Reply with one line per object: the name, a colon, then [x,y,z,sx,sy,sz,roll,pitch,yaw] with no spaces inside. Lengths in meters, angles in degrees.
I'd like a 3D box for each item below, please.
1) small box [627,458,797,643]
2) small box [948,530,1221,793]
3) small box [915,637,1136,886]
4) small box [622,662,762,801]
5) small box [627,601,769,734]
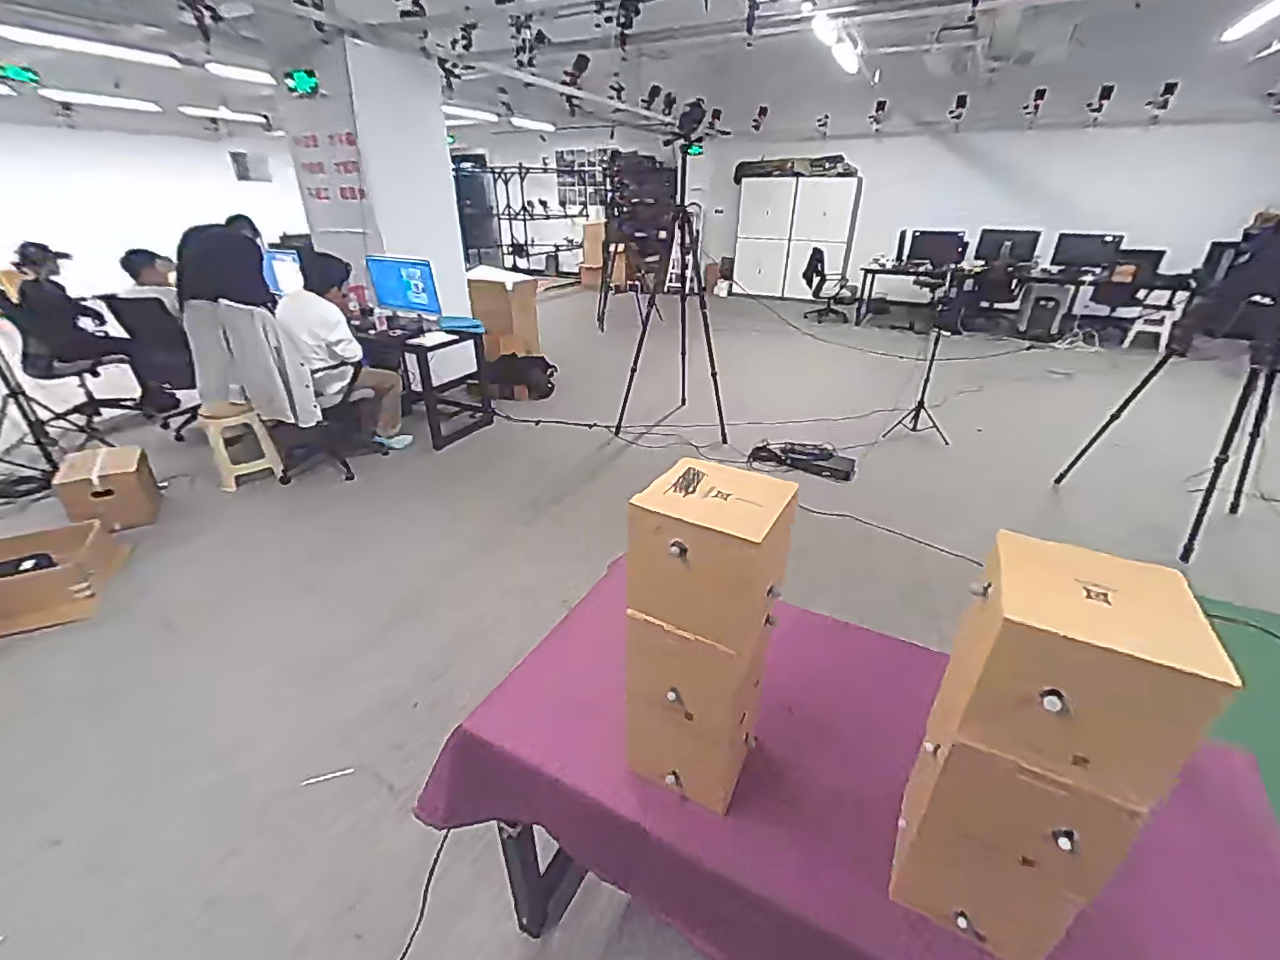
small box: [0.095,0.091,0.737,0.179,0.176,0.168,16,31,25]
small box: [0.442,0.183,0.574,0.168,0.176,0.179,15,30,25]
small box: [0.441,0.328,0.648,0.168,0.176,0.179,15,31,25]
small box: [0.084,0.384,0.887,0.179,0.176,0.168,14,30,23]
small box: [0.088,0.235,0.815,0.168,0.176,0.179,14,31,25]
